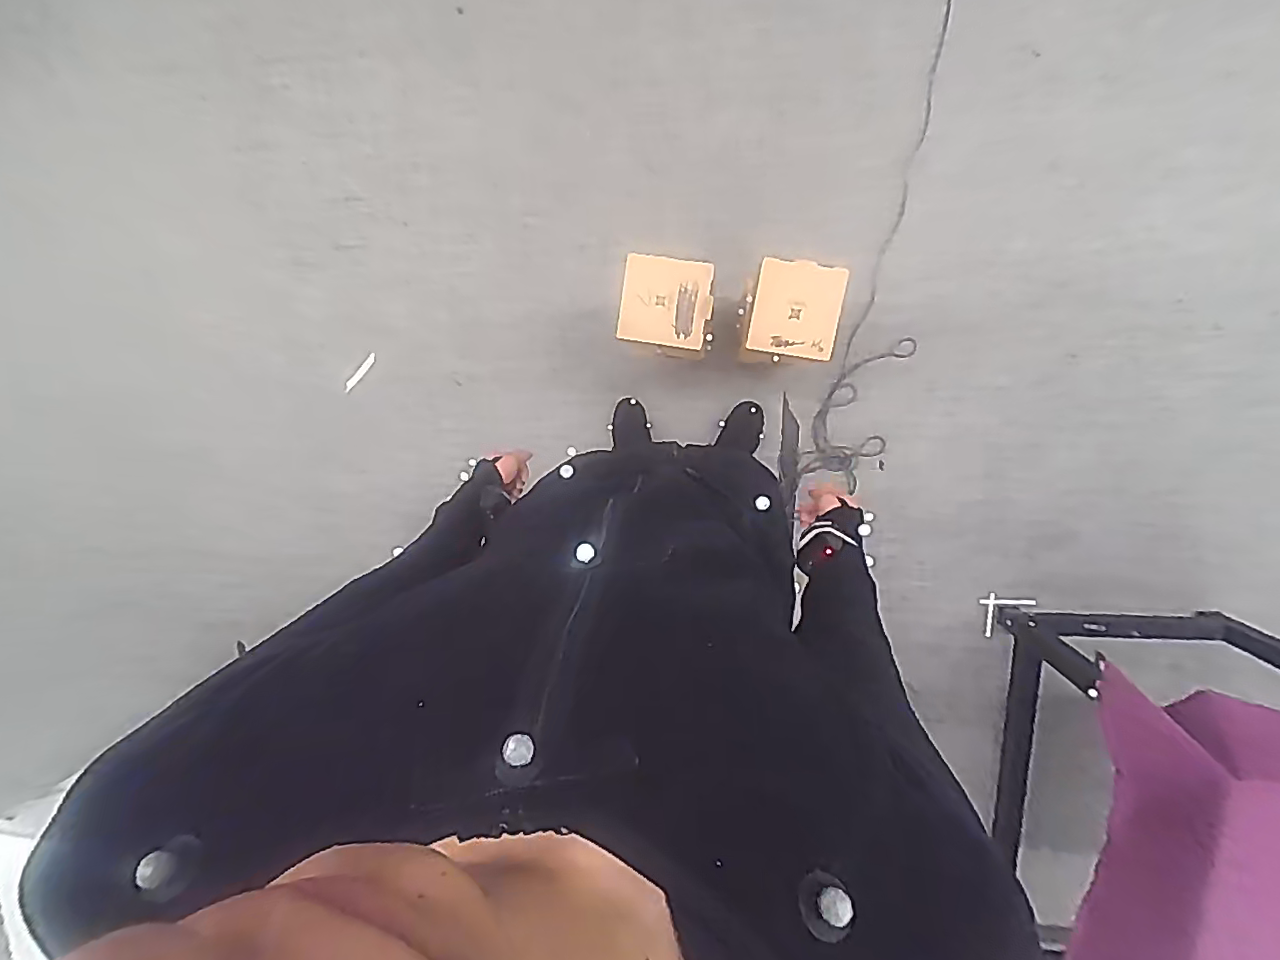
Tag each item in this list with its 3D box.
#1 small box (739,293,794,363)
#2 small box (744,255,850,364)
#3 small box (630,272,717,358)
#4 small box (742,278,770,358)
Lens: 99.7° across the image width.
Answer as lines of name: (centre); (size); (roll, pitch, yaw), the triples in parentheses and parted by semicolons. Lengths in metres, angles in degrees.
small box: (0.354, -0.405, 1.436); (0.168, 0.176, 0.179); (2, 101, 7)
small box: (0.313, -0.345, 1.118); (0.168, 0.176, 0.179); (10, 100, 5)
small box: (0.084, -0.390, 1.301); (0.179, 0.176, 0.168); (10, 101, 5)
small box: (0.335, -0.375, 1.278); (0.179, 0.176, 0.168); (3, 101, 7)
